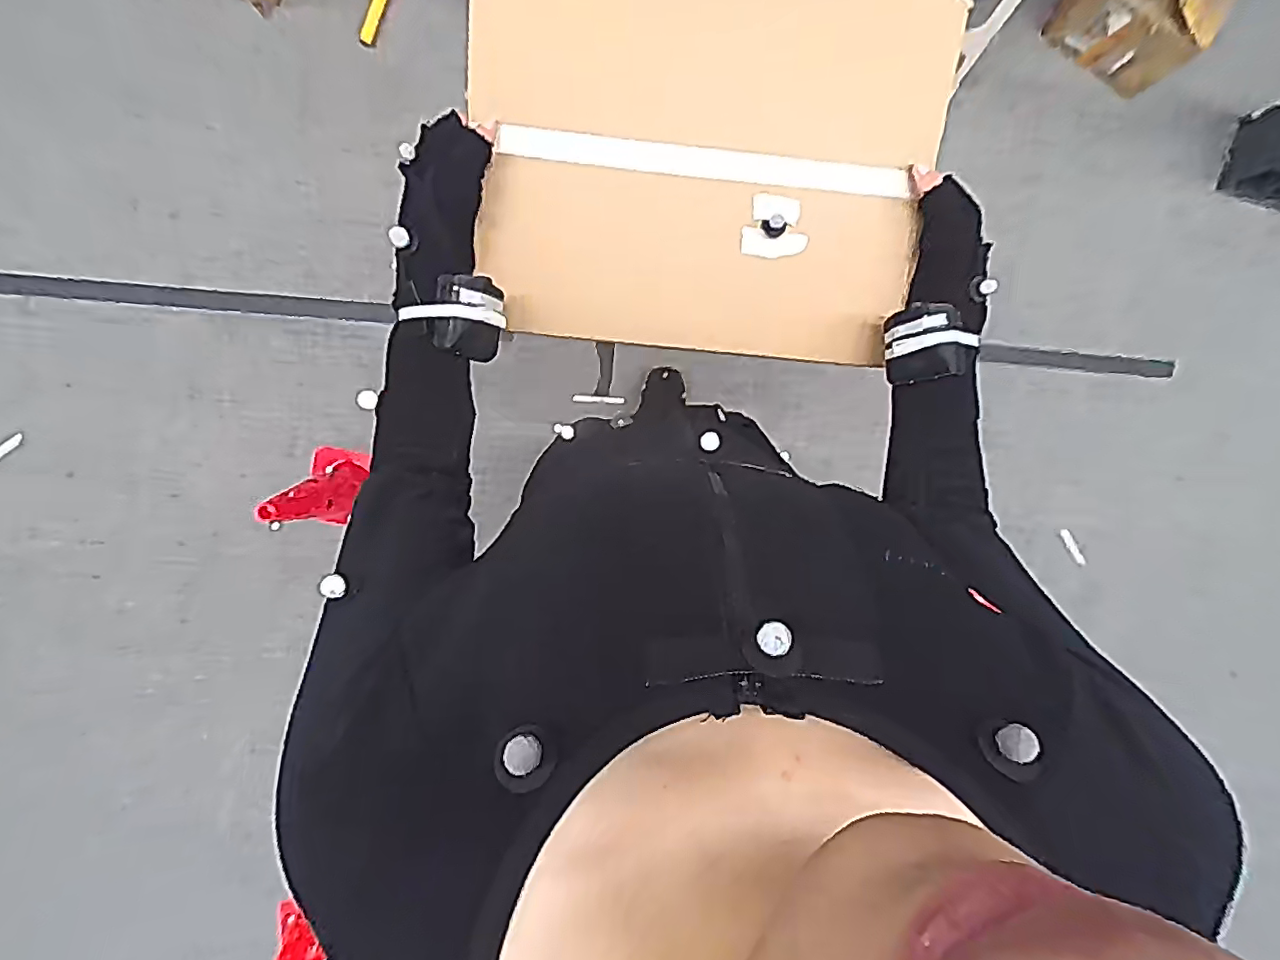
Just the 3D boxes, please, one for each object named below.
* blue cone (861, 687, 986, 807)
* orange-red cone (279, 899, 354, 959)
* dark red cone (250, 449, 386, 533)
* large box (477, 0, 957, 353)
[{"bbox_3d":[0.764,0.723,1.438,0.192,0.380,0.193,7,96,-5],"label":"blue cone"},{"bbox_3d":[-0.920,1.326,1.391,0.198,0.360,0.199,2,98,-3],"label":"orange-red cone"},{"bbox_3d":[-0.749,0.047,1.230,0.201,0.394,0.202,10,96,-6],"label":"dark red cone"},{"bbox_3d":[0.049,-0.320,0.618,0.408,0.320,0.320,4,105,-4],"label":"large box"}]
